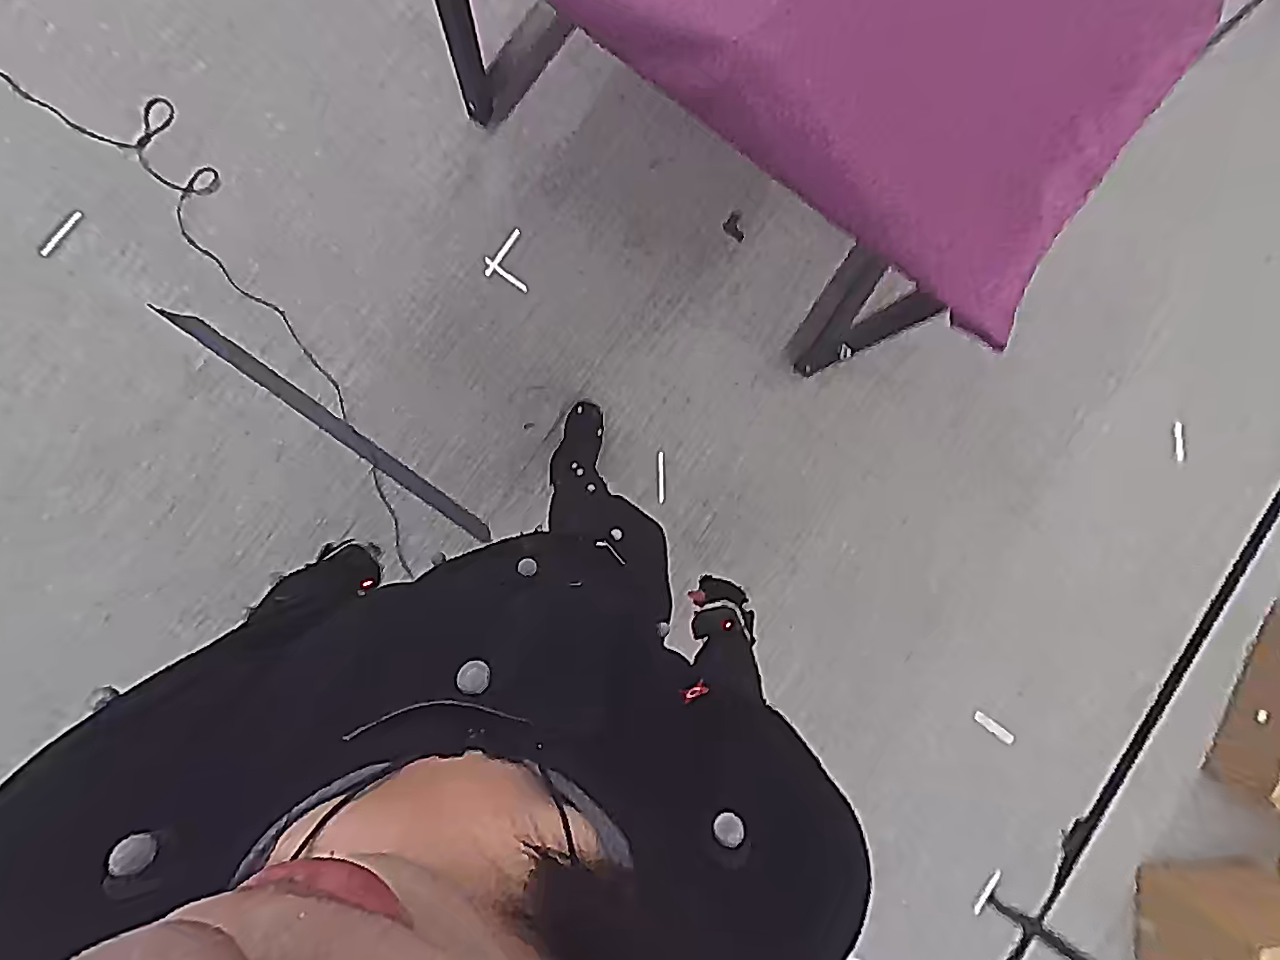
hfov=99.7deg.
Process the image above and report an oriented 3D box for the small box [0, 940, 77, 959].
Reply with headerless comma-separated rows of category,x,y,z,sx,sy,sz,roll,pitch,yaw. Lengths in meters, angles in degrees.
small box,-1.465,1.204,1.237,0.179,0.176,0.168,11,87,-5
